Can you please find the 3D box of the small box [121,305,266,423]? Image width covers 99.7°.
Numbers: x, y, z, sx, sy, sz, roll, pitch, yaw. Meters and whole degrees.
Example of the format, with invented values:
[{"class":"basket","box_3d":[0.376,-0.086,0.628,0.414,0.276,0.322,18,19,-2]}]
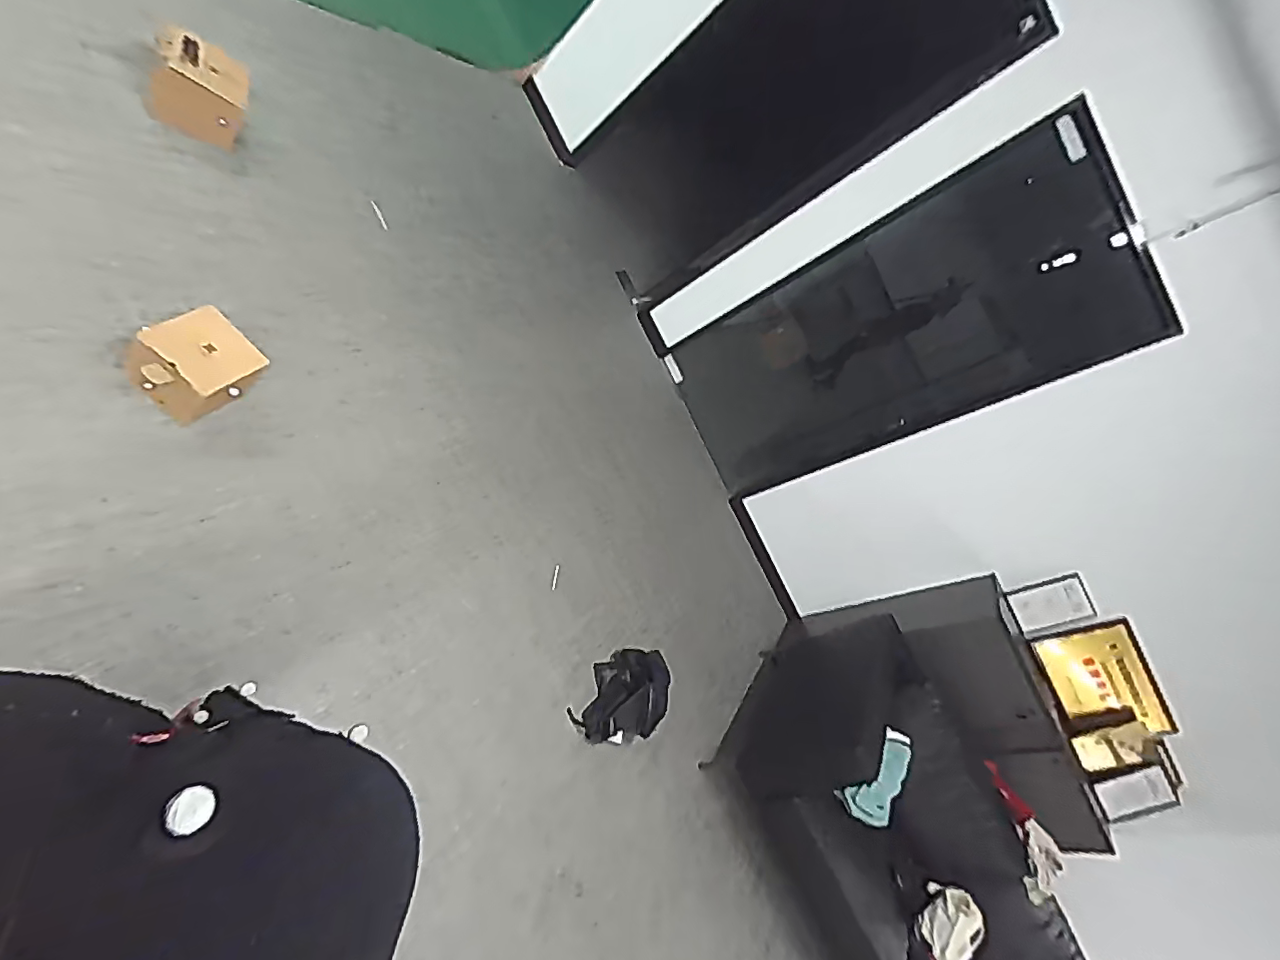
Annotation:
[{"class":"small box","box_3d":[-1.012,-0.260,1.225,0.168,0.176,0.179,52,37,-20]}]
